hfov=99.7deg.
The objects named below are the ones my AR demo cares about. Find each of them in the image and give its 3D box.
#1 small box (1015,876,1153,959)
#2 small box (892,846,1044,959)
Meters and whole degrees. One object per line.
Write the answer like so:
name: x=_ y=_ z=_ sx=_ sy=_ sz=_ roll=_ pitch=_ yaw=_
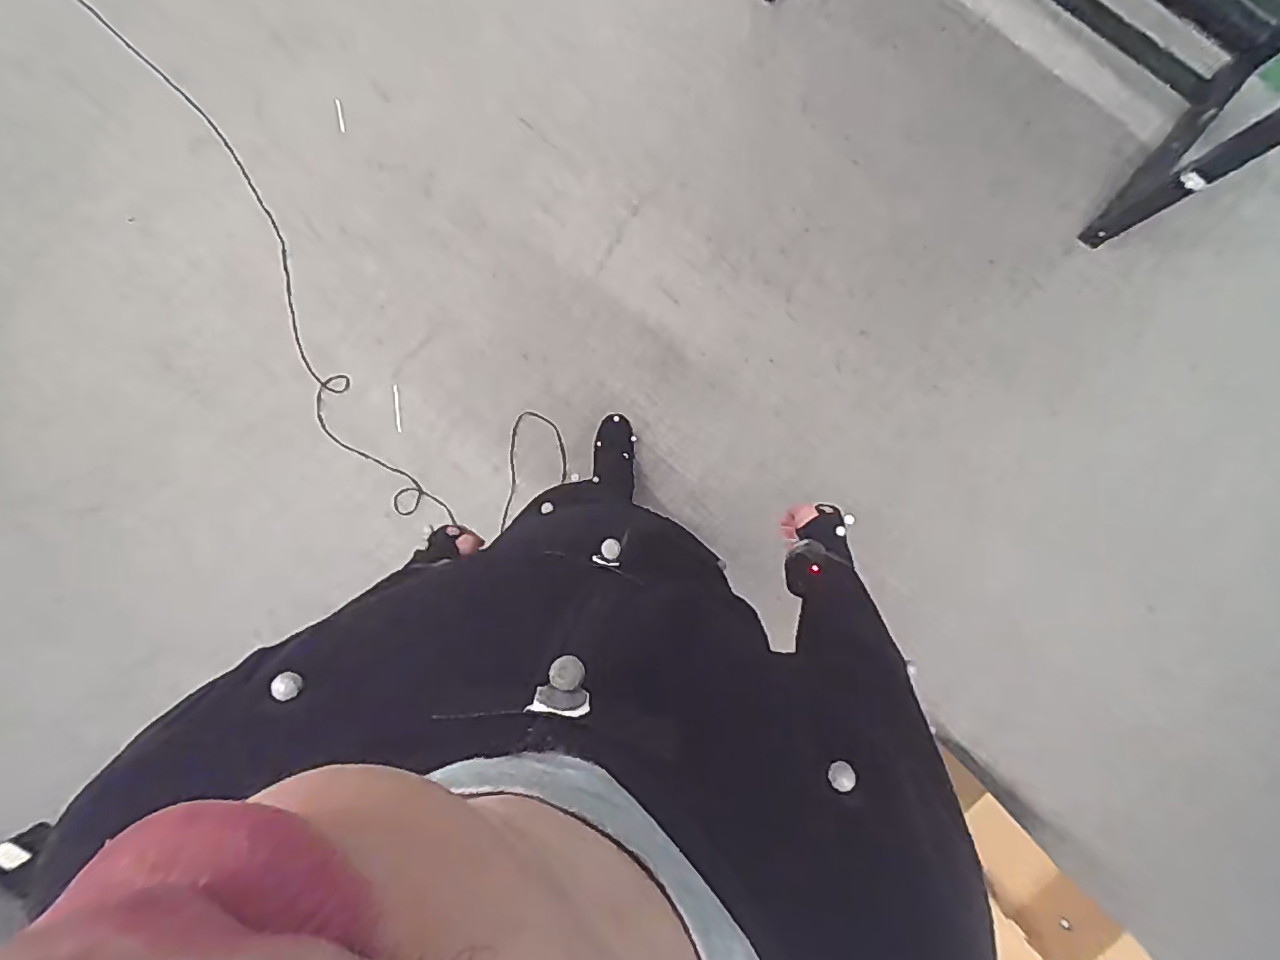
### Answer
small box: x=0.921 y=0.982 z=1.110 sx=0.179 sy=0.176 sz=0.168 roll=-41 pitch=88 yaw=-1
small box: x=0.666 y=0.919 z=1.121 sx=0.179 sy=0.176 sz=0.168 roll=-41 pitch=89 yaw=3
